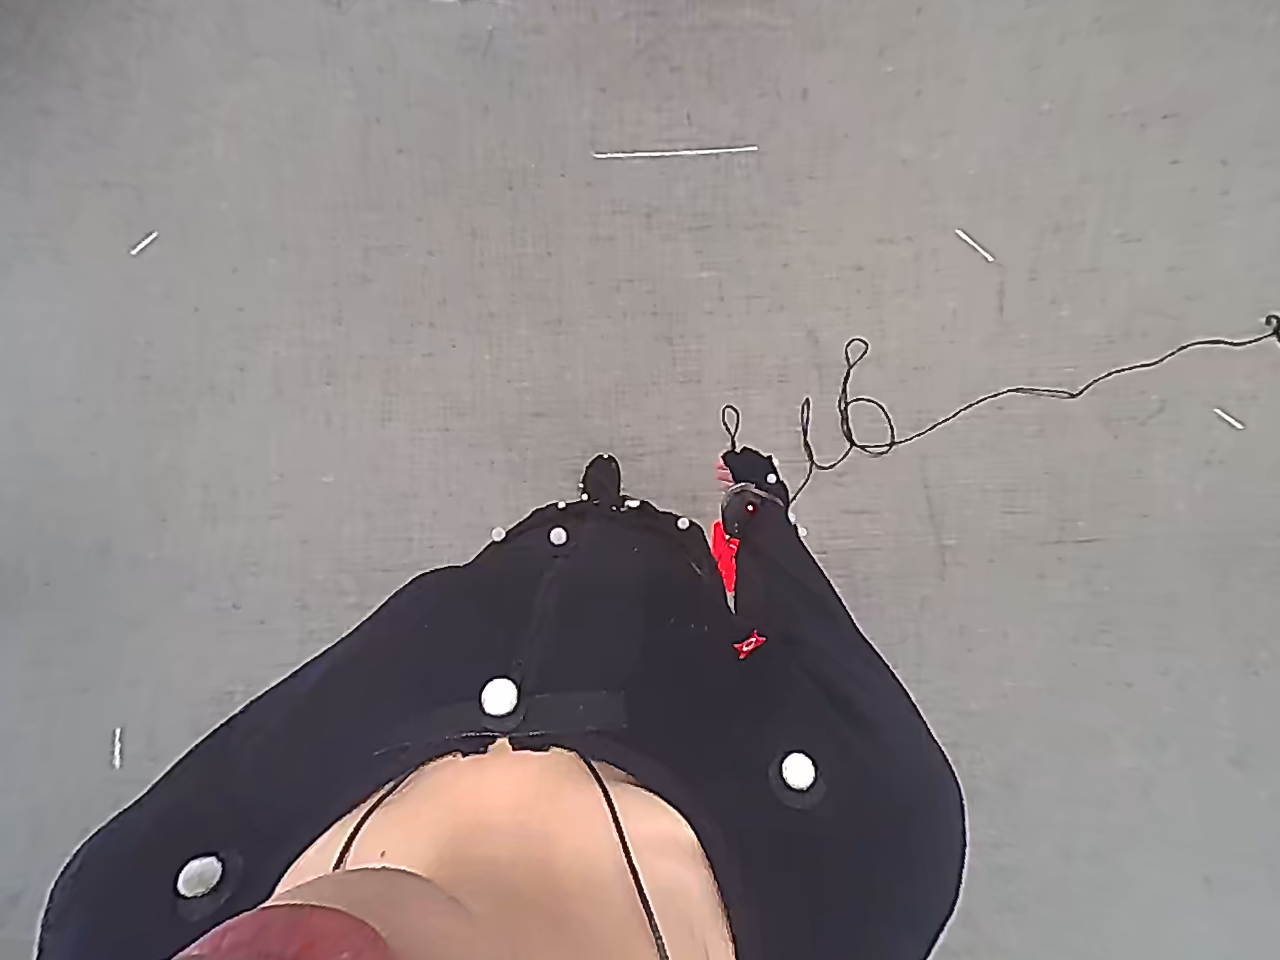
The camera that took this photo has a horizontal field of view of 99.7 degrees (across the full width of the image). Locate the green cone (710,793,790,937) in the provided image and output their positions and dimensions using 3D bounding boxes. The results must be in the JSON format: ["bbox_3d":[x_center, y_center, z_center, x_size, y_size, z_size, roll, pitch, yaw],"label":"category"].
[{"bbox_3d":[0.290,0.933,1.282,0.200,0.368,0.202,0,85,-1],"label":"green cone"}]

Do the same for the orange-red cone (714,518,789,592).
[{"bbox_3d":[0.305,0.203,1.332,0.198,0.360,0.199,3,88,1],"label":"orange-red cone"}]
